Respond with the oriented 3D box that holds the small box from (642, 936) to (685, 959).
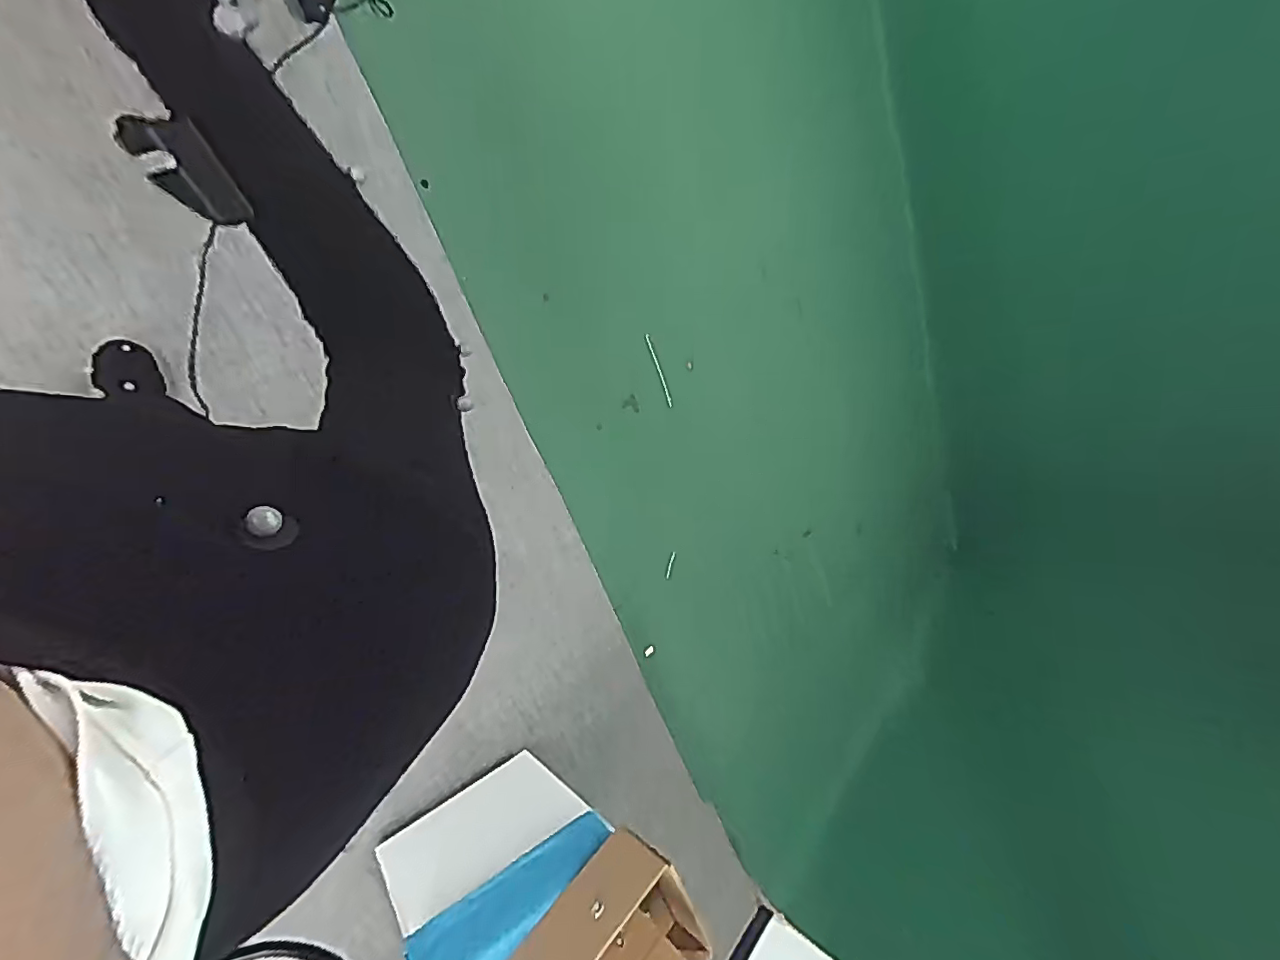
[{"bbox_3d":[0.062,1.164,1.177,0.179,0.176,0.168,-35,117,-32],"label":"small box"}]
